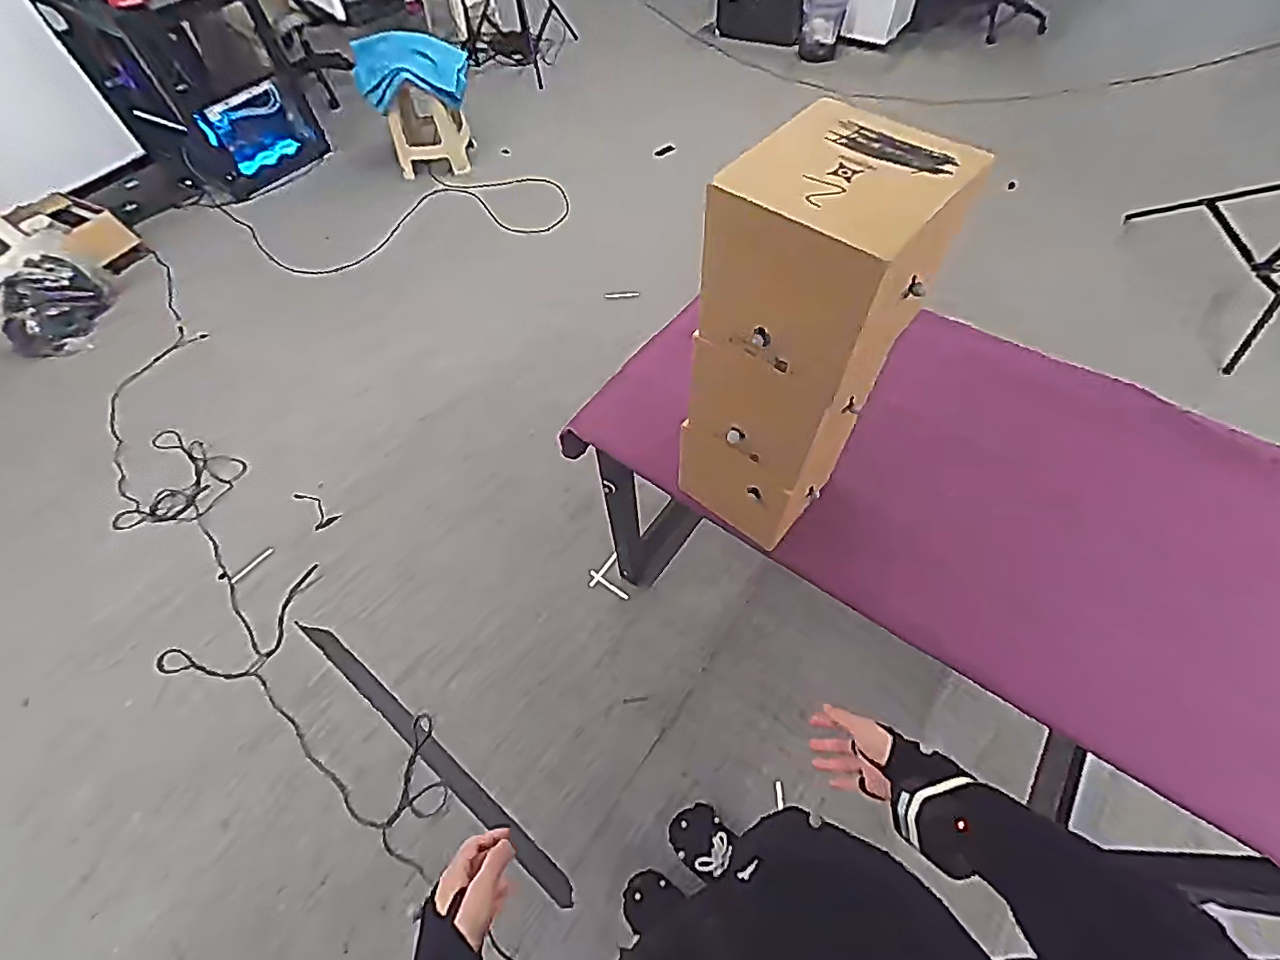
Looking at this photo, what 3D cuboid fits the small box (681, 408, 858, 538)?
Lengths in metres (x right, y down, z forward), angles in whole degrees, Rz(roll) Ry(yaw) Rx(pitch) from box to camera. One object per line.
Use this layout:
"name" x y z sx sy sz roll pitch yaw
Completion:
"small box" 0.176 -0.039 0.785 0.179 0.176 0.168 36 66 23

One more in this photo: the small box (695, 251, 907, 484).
"small box" 0.177 -0.130 0.648 0.168 0.176 0.179 35 67 22
